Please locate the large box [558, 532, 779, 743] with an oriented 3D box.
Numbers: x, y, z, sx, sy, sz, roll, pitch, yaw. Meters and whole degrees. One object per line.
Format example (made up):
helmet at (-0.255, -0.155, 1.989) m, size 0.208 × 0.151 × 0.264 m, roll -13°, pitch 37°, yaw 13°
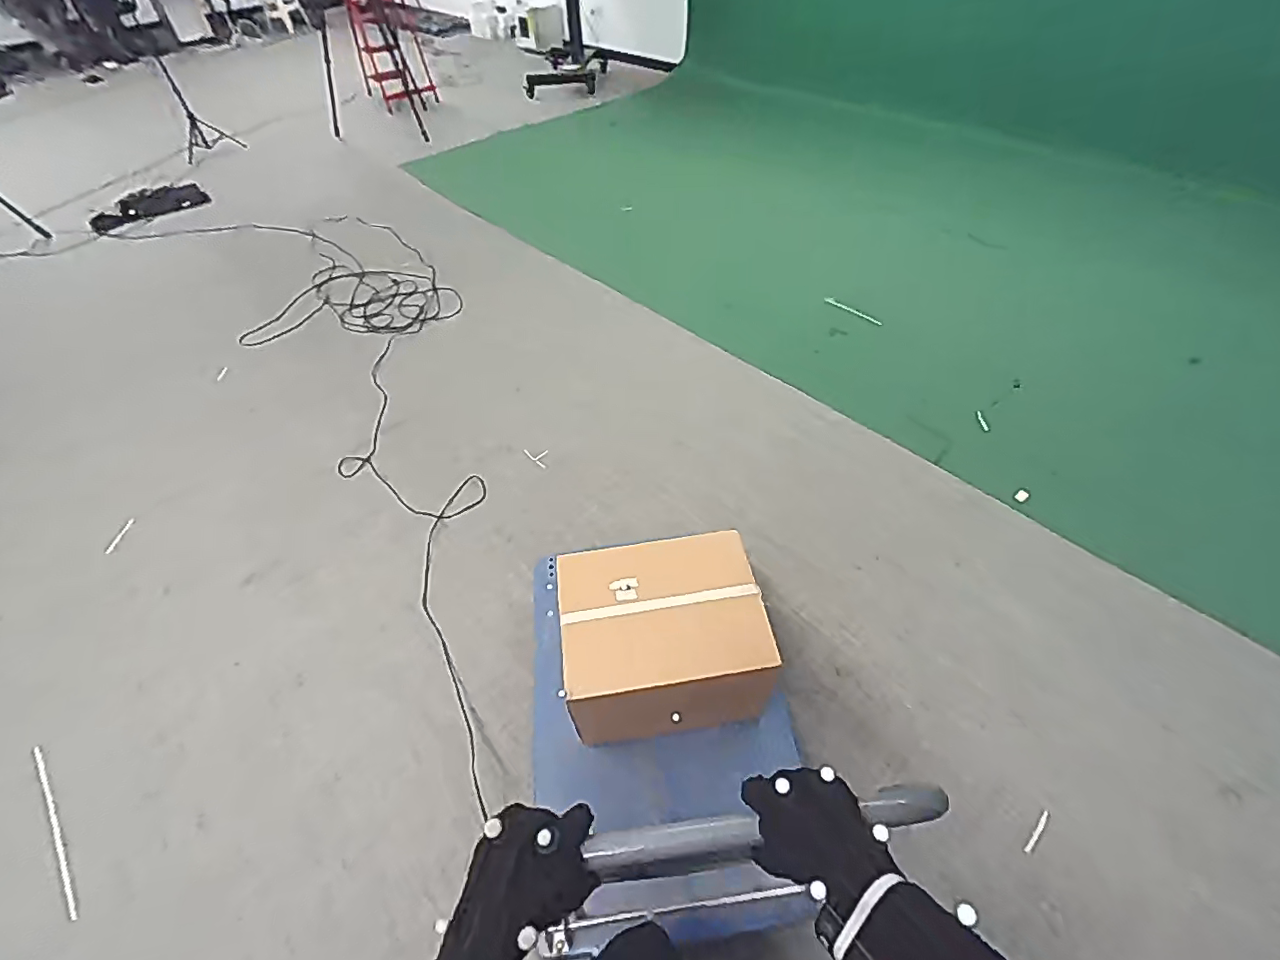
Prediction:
large box at (0.051, 0.354, 1.205) m, size 0.408 × 0.320 × 0.320 m, roll -9°, pitch 50°, yaw -4°
